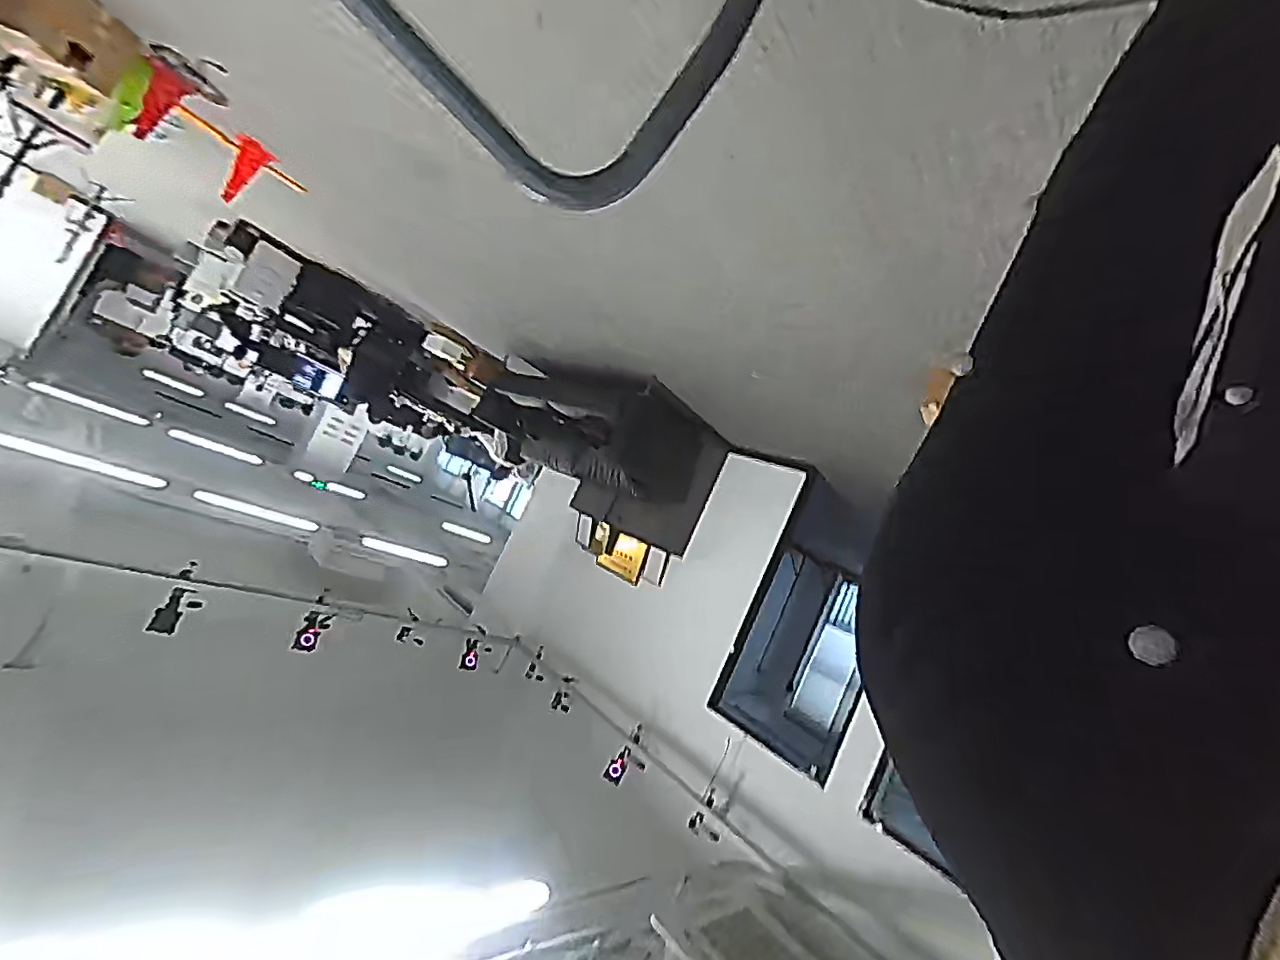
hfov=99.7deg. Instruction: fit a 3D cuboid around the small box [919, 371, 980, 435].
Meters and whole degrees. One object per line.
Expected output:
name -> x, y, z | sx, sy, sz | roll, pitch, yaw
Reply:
small box -> 1.204, -0.300, 2.107 | 0.168, 0.176, 0.179 | 19, 171, 31
